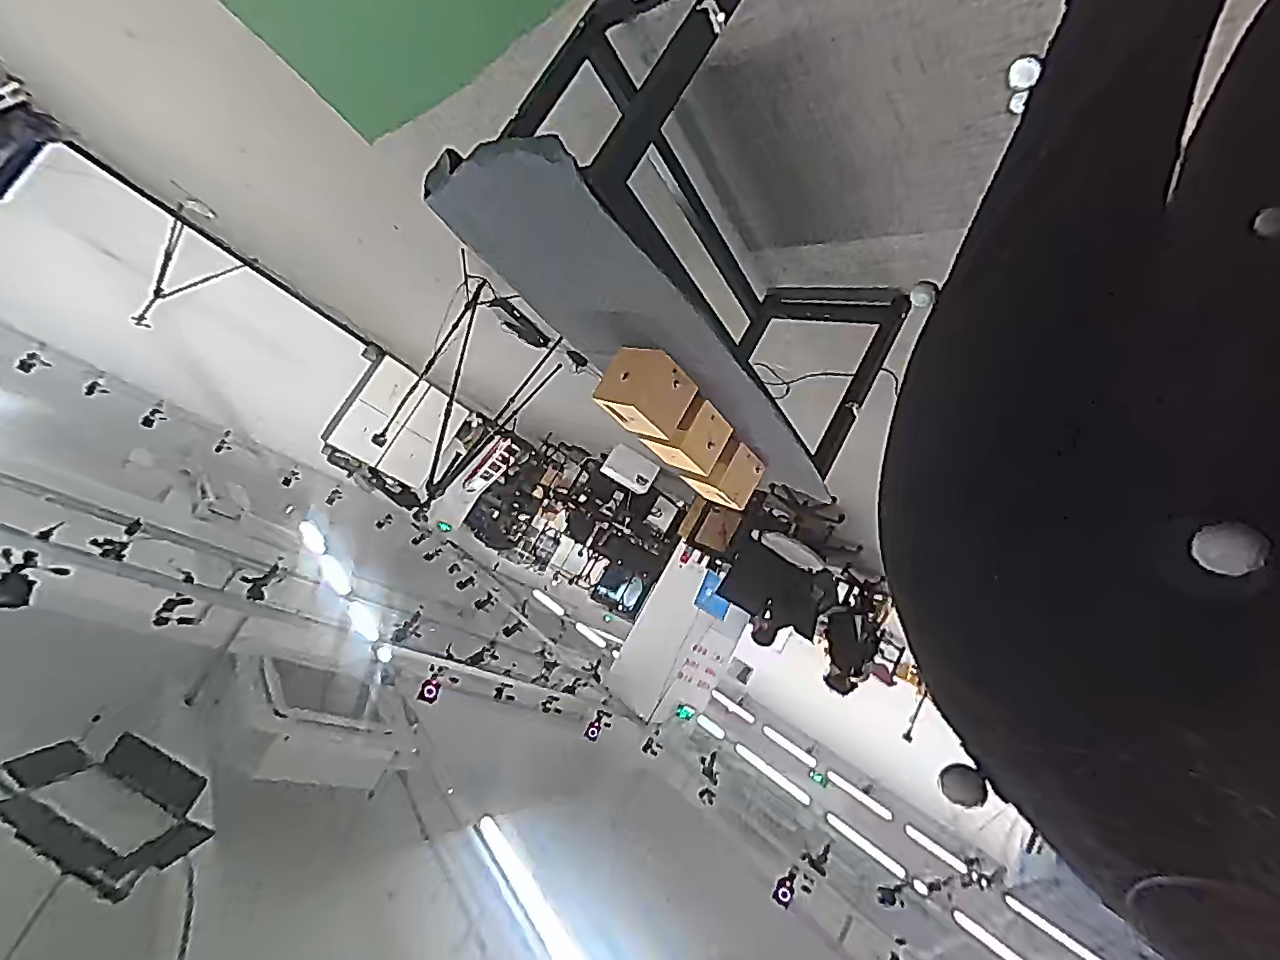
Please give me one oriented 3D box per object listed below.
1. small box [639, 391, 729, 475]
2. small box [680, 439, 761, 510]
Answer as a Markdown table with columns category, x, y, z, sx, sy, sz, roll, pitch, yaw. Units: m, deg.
| category | x | y | z | sx | sy | sz | roll | pitch | yaw |
| --- | --- | --- | --- | --- | --- | --- | --- | --- | --- |
| small box | 0.137 | -0.139 | 1.568 | 0.179 | 0.176 | 0.168 | 21 | 168 | 45 |
| small box | 0.266 | -0.031 | 1.733 | 0.179 | 0.176 | 0.168 | 21 | 167 | 49 |
